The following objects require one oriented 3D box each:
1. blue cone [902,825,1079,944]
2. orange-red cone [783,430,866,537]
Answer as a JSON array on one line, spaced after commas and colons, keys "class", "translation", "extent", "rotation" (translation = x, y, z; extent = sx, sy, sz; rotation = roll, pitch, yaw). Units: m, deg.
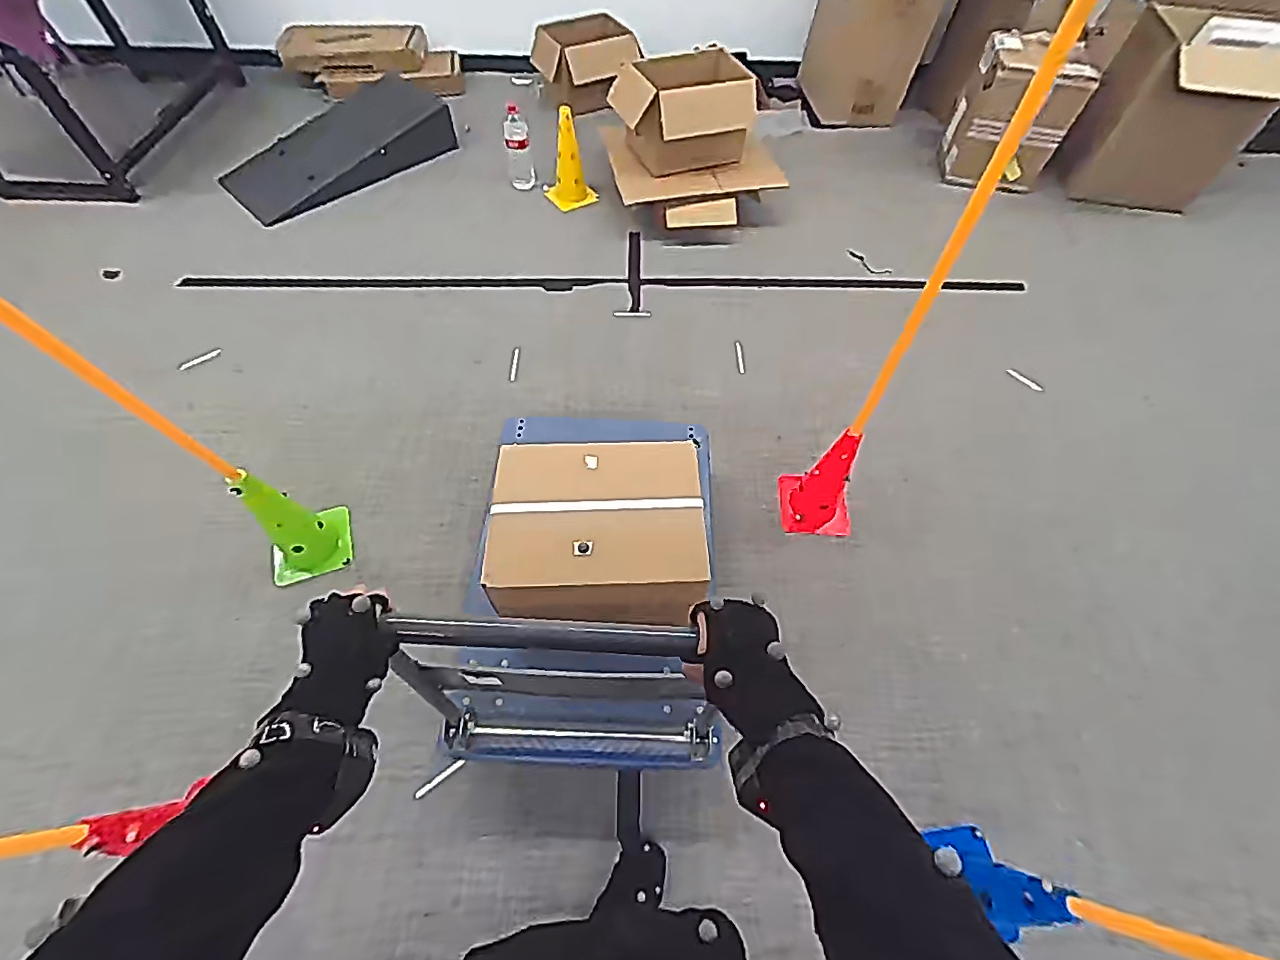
[{"class": "blue cone", "translation": [0.669, 0.751, 0.996], "extent": [0.193, 0.380, 0.192], "rotation": [-3, 56, -4]}, {"class": "orange-red cone", "translation": [0.532, -0.016, 1.468], "extent": [0.199, 0.360, 0.198], "rotation": [6, 58, 1]}]
